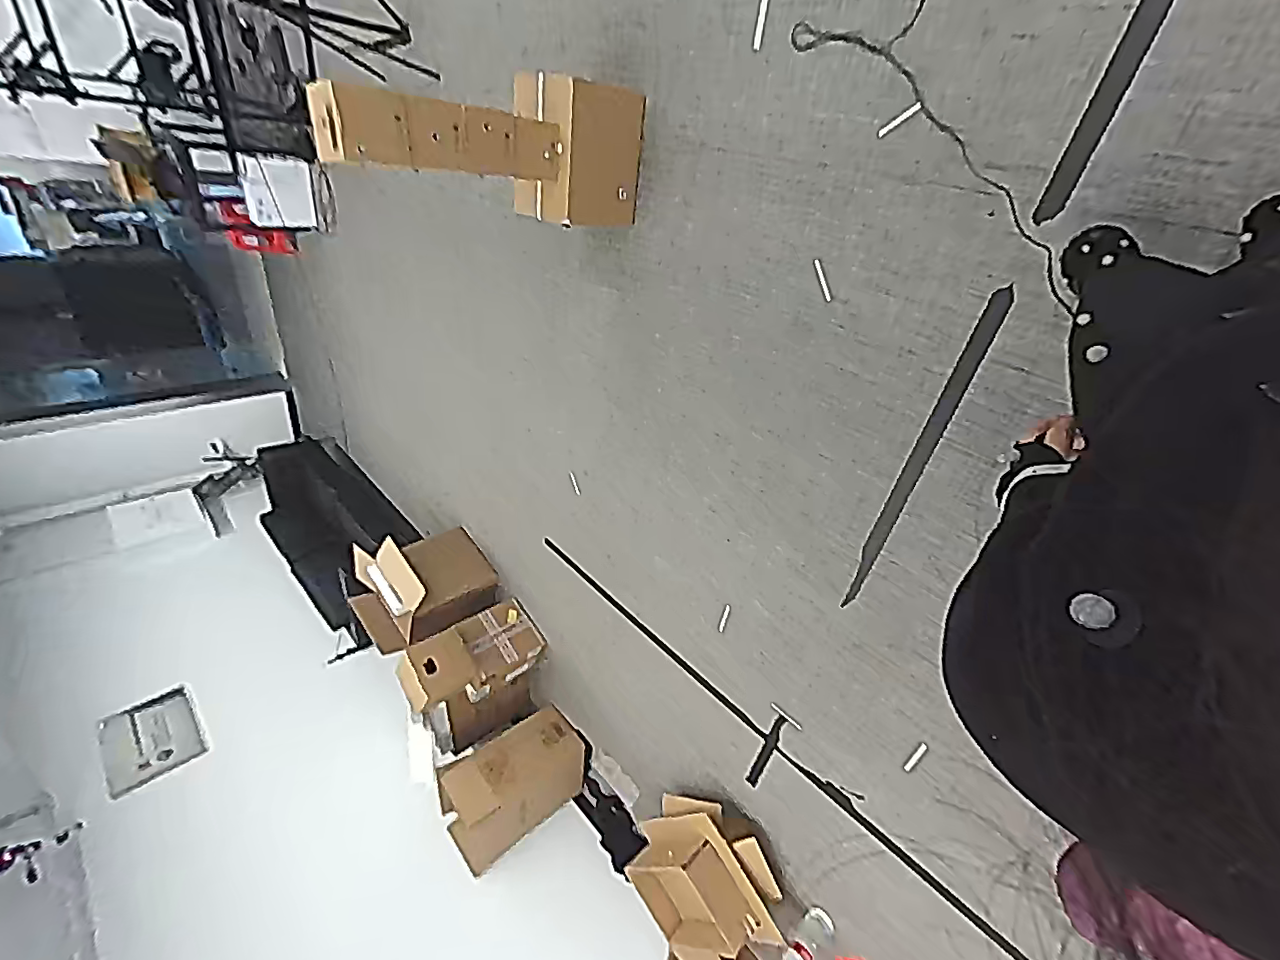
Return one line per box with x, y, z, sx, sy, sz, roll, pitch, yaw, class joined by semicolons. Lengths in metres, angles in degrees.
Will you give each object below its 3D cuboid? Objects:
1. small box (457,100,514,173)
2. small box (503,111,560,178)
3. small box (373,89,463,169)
-0.482;-1.006;1.583;0.179;0.176;0.168;31;127;36;small box
-0.372;-1.053;1.694;0.179;0.176;0.168;31;129;34;small box
-0.600;-0.955;1.481;0.179;0.176;0.168;26;124;37;small box
